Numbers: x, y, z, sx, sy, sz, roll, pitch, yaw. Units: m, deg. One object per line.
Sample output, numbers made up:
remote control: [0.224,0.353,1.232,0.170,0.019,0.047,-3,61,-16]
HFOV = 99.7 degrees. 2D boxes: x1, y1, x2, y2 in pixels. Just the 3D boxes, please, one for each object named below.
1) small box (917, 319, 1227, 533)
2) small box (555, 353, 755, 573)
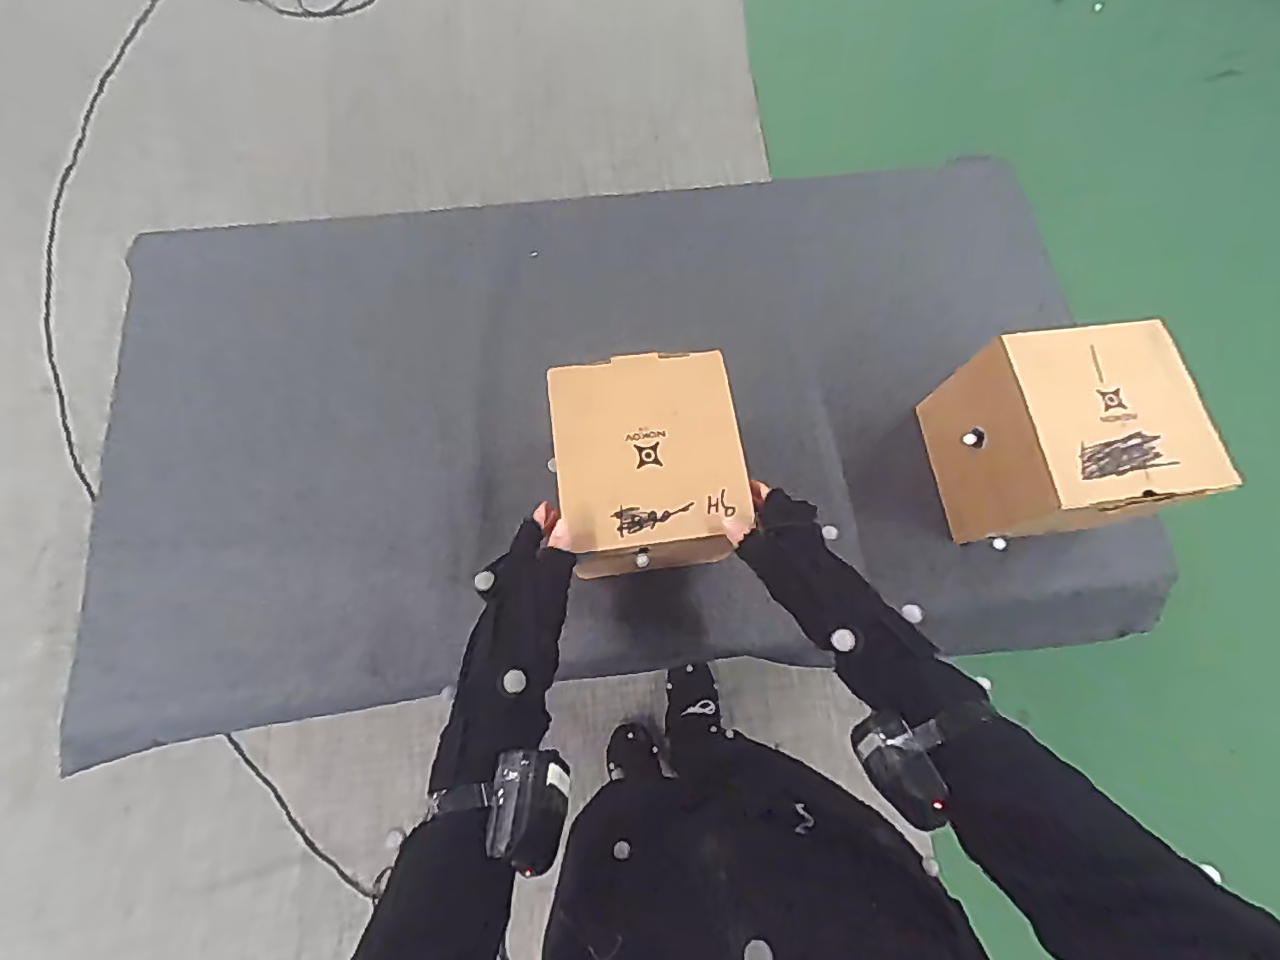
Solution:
small box: [0.432,-0.044,0.578,0.168,0.176,0.179,-6,72,-2]
small box: [0.007,-0.008,0.561,0.168,0.176,0.179,-7,75,-3]
